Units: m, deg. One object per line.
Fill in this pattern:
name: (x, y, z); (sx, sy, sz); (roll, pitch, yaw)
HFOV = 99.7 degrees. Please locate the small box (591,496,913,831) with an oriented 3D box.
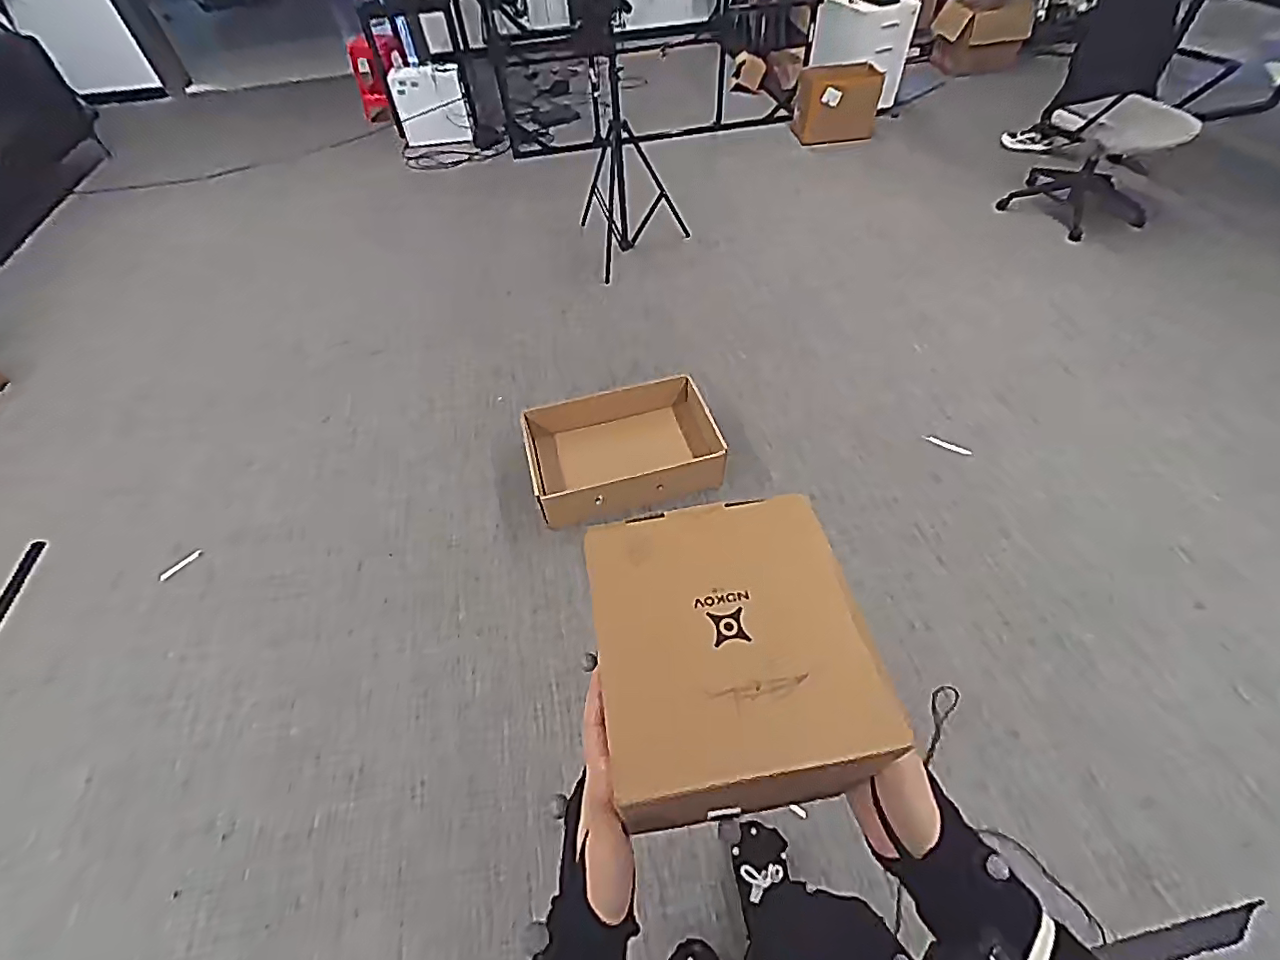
small box: (0.058, 0.138, 0.402); (0.168, 0.176, 0.179); (-9, 52, -4)
